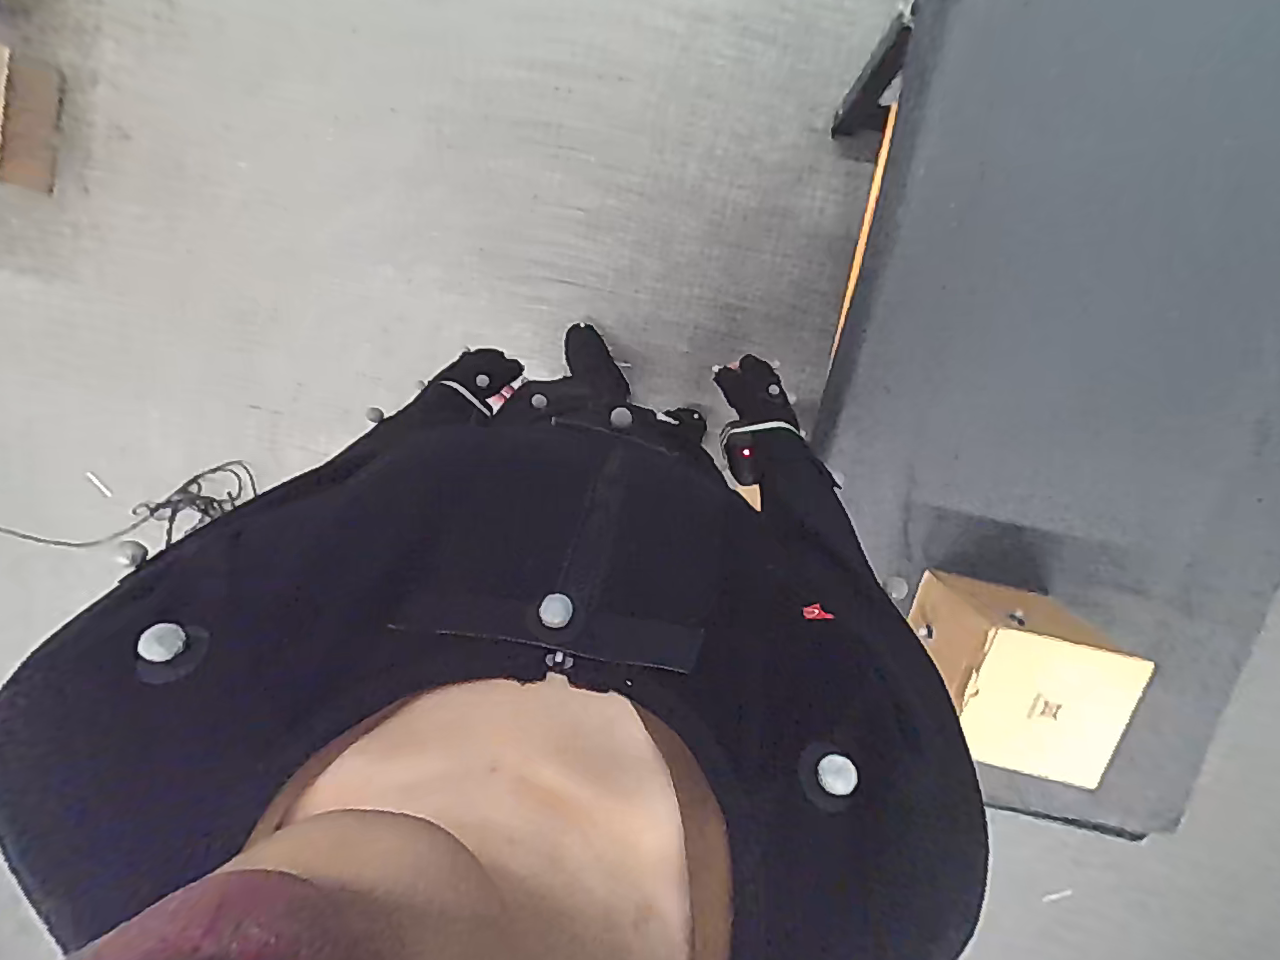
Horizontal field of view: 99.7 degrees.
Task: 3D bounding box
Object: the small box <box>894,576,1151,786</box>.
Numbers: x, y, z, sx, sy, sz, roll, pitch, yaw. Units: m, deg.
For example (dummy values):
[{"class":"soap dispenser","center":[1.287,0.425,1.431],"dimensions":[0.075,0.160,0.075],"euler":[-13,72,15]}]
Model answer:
[{"class":"small box","center":[0.456,0.238,0.679],"dimensions":[0.179,0.176,0.168],"euler":[13,103,1]}]
